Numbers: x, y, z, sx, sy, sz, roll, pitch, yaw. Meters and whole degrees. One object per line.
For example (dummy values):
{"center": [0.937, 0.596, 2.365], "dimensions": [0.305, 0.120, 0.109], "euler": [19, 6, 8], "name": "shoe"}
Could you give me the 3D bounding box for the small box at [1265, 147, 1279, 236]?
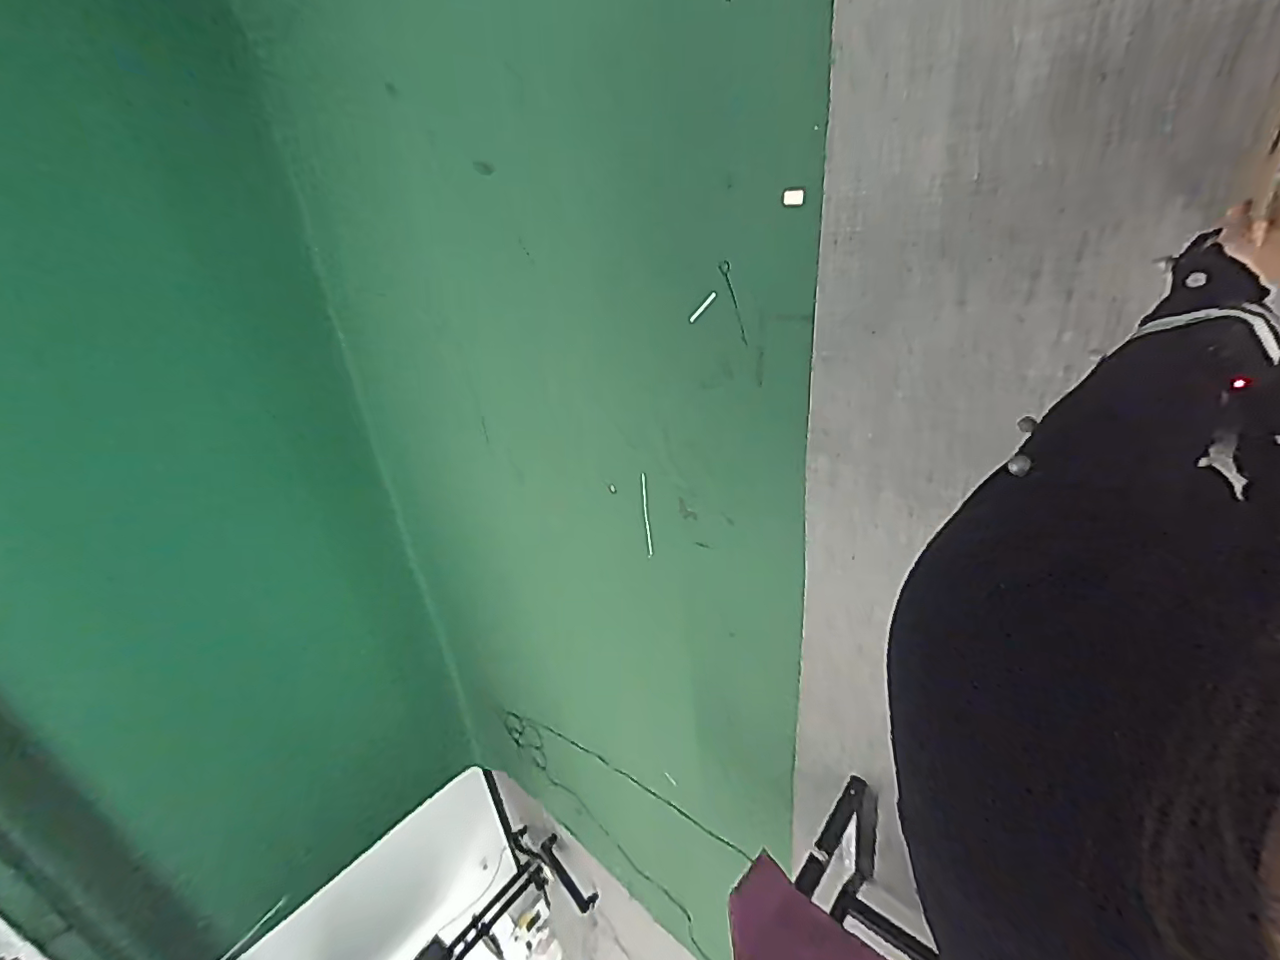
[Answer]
{"center": [0.621, -0.287, 0.401], "dimensions": [0.168, 0.176, 0.179], "euler": [16, 125, 36], "name": "small box"}
